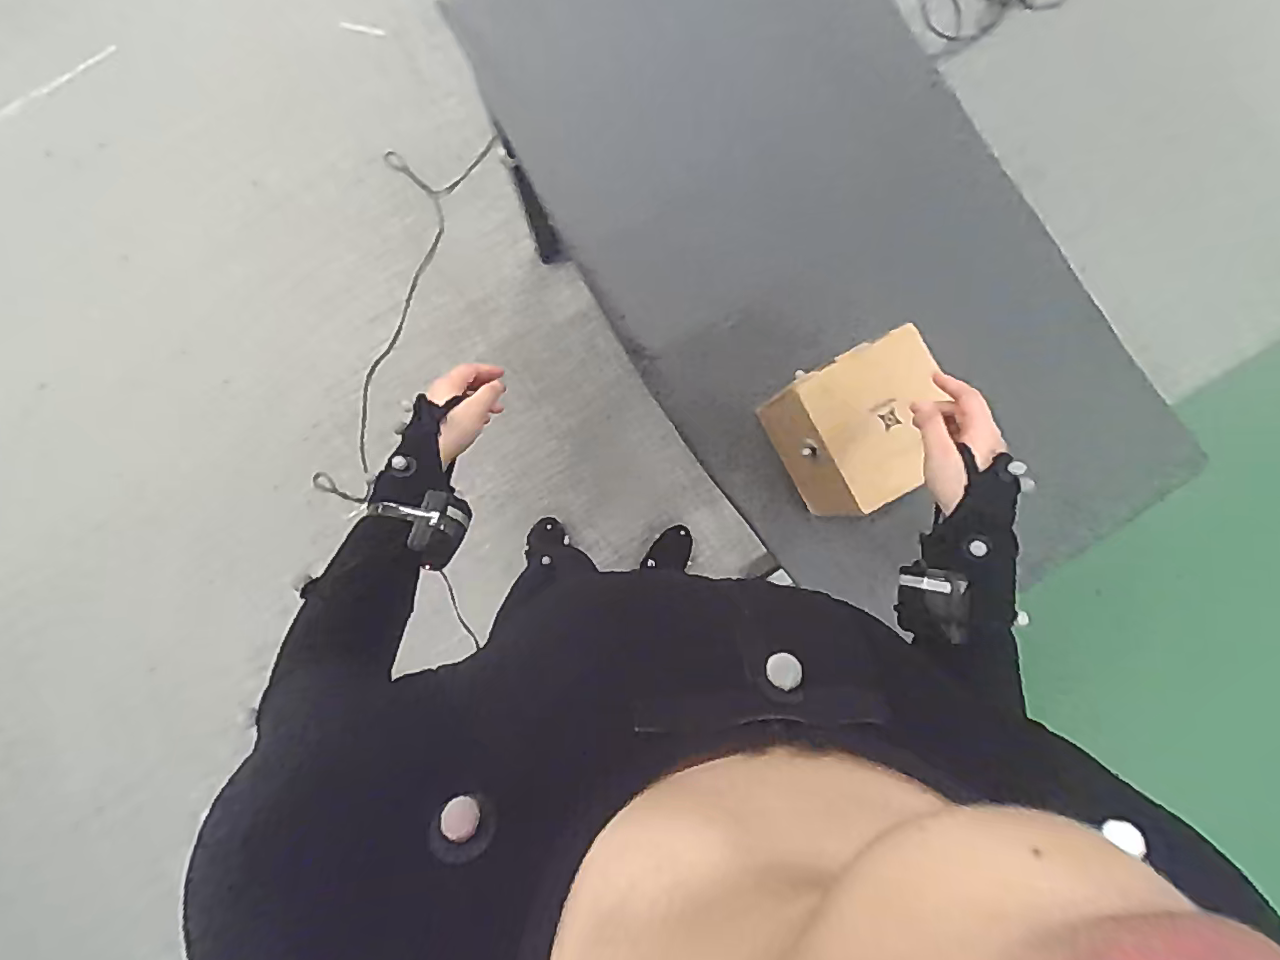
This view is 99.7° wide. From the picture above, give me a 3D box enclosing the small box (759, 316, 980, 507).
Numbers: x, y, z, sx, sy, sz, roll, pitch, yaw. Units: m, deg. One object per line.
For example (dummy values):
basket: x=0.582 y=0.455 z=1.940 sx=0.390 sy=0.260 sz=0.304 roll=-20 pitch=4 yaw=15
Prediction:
small box: x=0.277 y=-0.074 z=0.698 sx=0.168 sy=0.176 sz=0.179 roll=-28 pitch=88 yaw=-4
